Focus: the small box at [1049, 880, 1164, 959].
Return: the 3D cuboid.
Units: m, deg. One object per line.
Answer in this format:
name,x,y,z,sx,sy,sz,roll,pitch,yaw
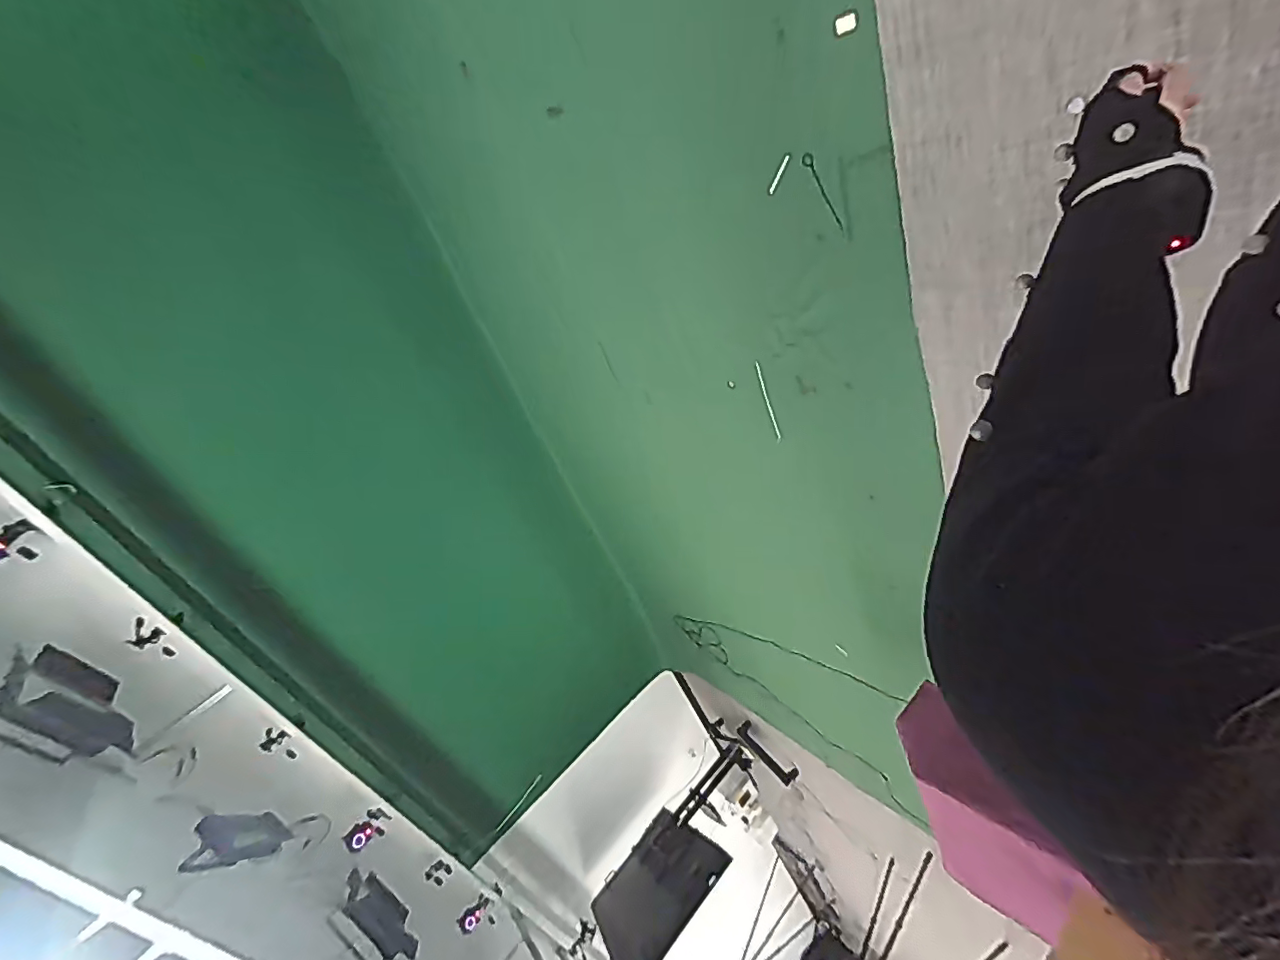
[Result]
small box,1.084,1.090,1.254,0.168,0.176,0.179,12,137,53
